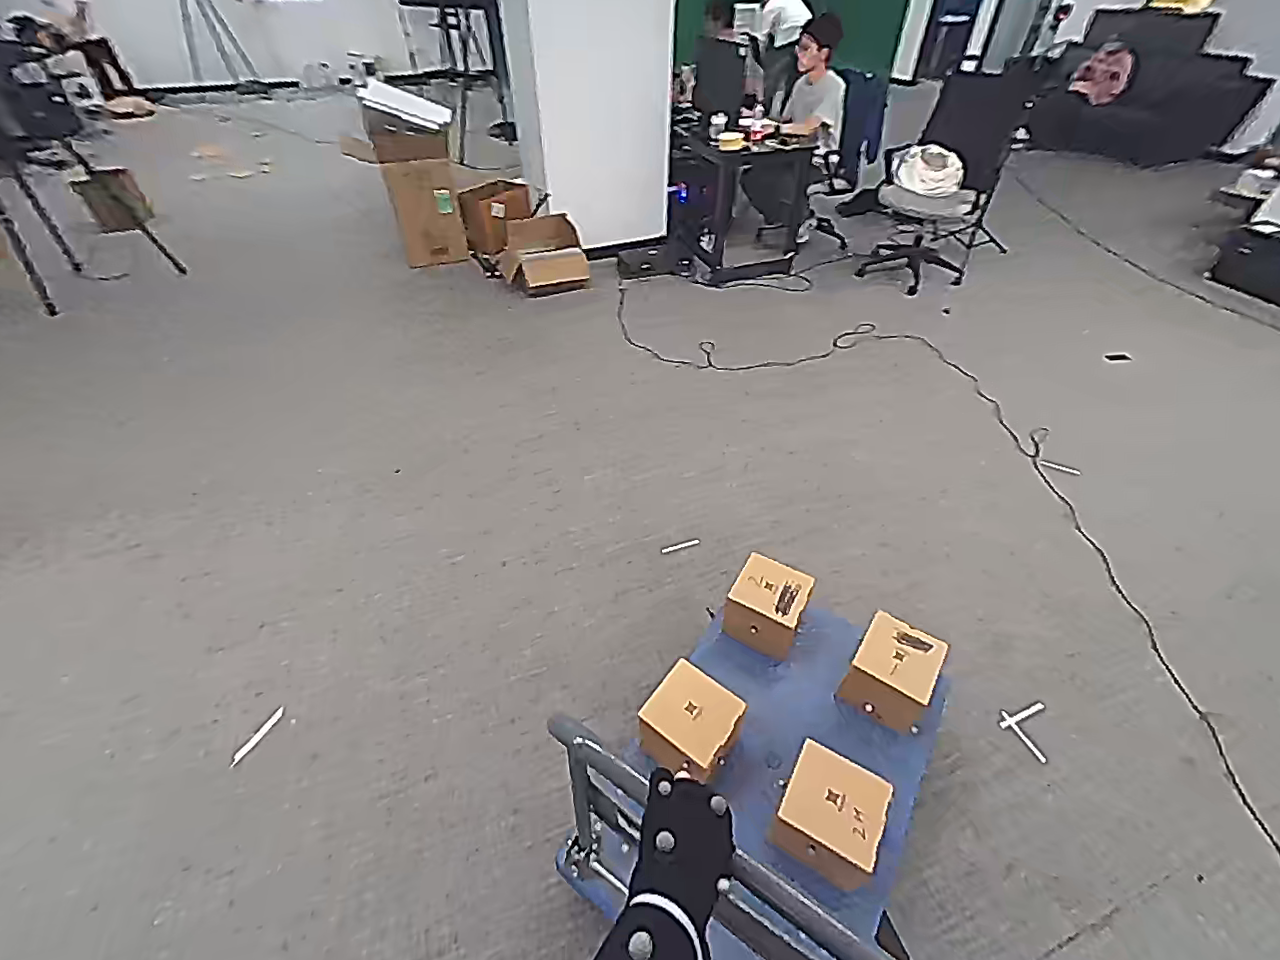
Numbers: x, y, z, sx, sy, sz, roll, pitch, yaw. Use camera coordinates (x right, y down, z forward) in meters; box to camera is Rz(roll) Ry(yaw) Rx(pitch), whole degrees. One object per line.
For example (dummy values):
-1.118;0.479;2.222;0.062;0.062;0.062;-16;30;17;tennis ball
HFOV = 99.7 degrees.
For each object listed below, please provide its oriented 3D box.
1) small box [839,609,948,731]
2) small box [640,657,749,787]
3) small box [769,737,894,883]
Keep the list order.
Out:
0.594;0.450;1.281;0.168;0.176;0.179;27;52;26;small box
0.114;0.539;1.197;0.179;0.176;0.168;29;51;25;small box
0.371;0.657;1.072;0.179;0.176;0.168;23;49;23;small box
